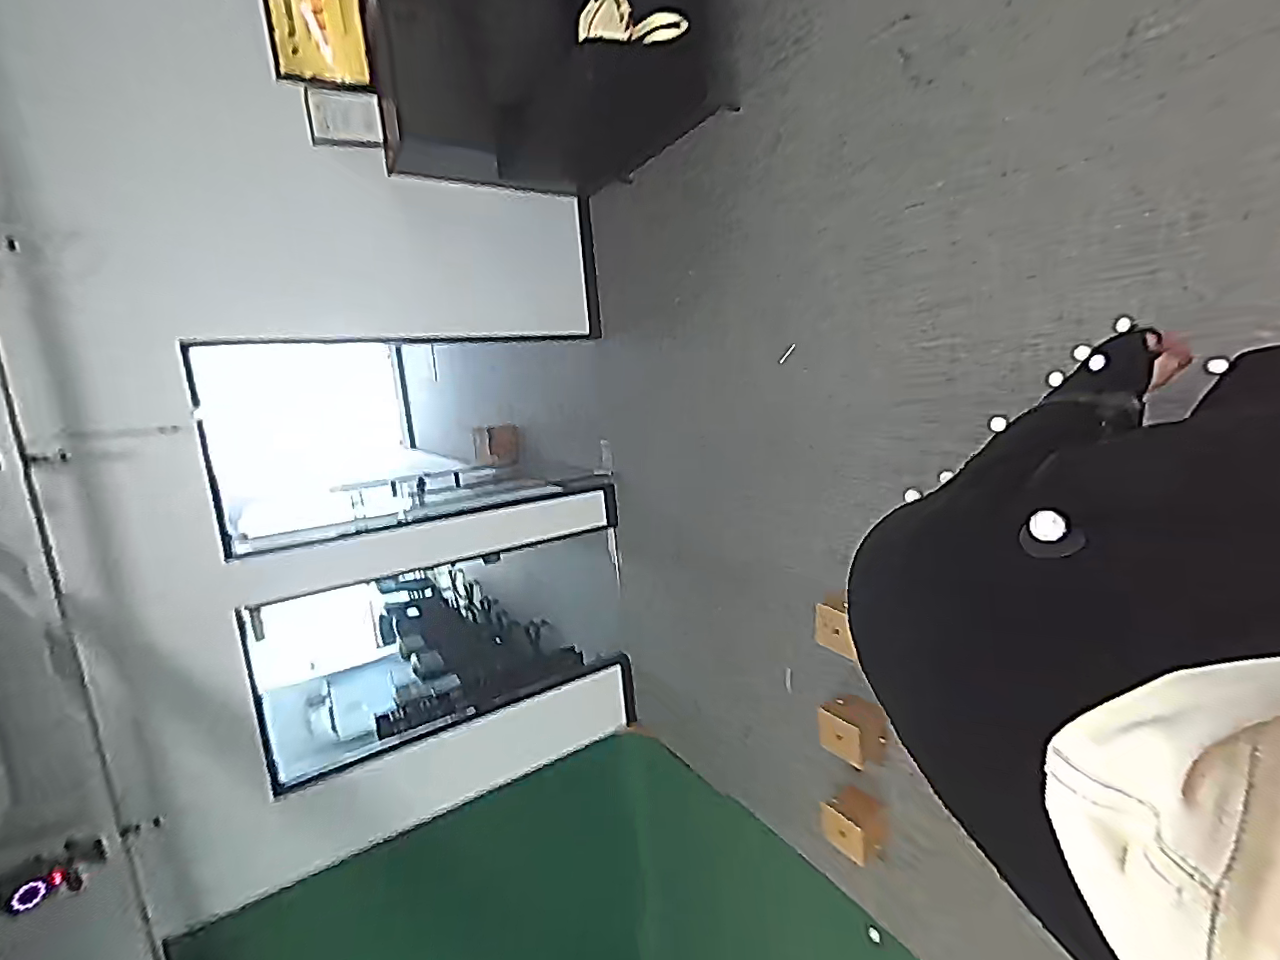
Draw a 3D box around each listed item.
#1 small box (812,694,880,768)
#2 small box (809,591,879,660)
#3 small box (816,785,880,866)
[{"bbox_3d":[0.774,0.933,2.033,0.179,0.176,0.168,9,107,56],"label":"small box"},{"bbox_3d":[0.742,0.521,1.964,0.179,0.176,0.168,17,112,55],"label":"small box"},{"bbox_3d":[0.808,1.327,2.093,0.179,0.176,0.168,9,107,58],"label":"small box"}]
